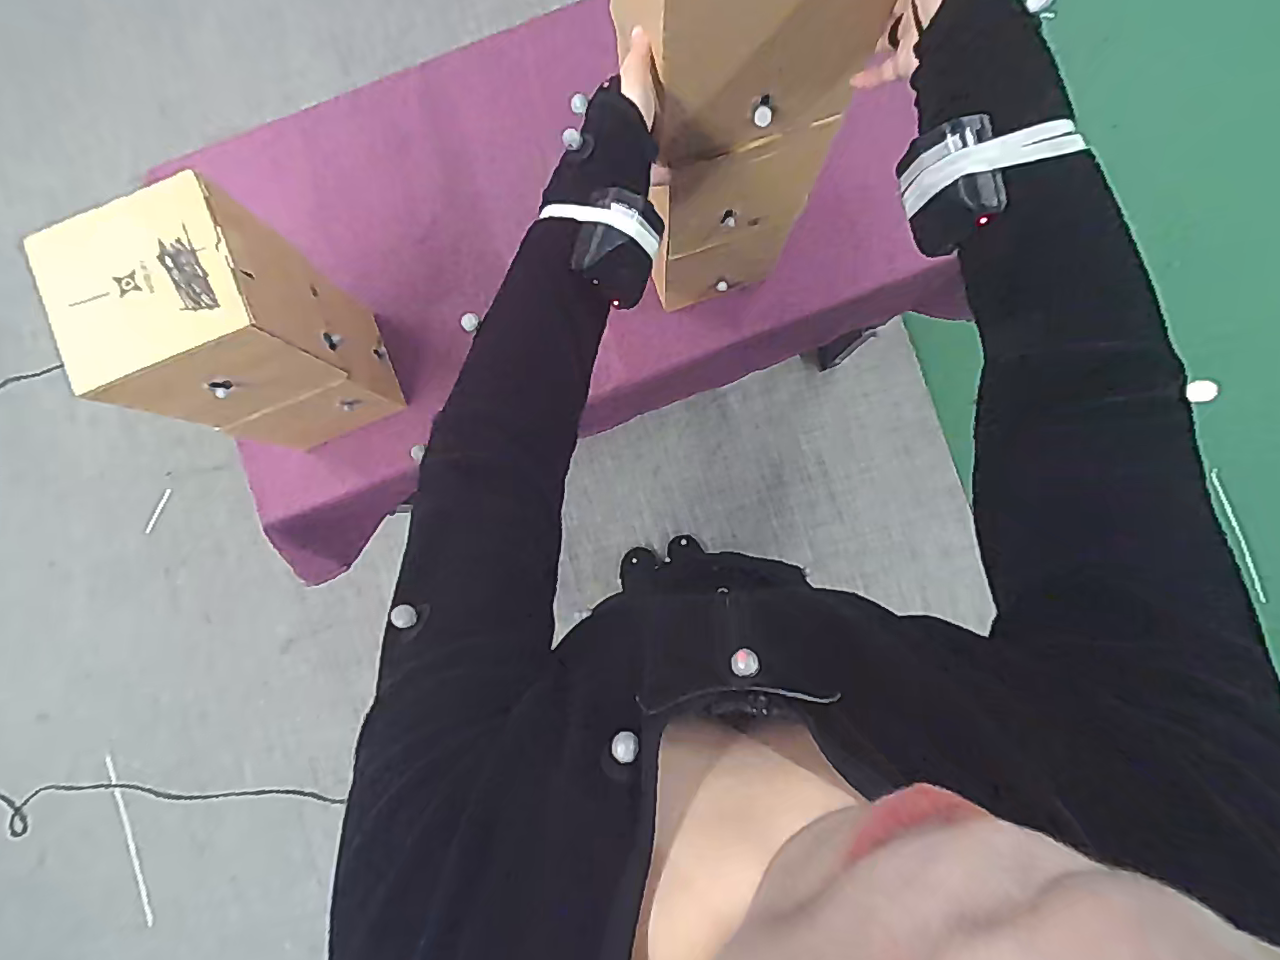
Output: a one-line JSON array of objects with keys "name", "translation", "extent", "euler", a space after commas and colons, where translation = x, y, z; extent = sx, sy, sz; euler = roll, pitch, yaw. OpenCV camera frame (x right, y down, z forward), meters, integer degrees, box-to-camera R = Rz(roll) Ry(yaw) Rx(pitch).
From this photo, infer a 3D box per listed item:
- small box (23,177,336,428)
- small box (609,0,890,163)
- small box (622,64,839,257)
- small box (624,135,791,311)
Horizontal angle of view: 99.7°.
[{"name": "small box", "translation": [-0.460, -0.171, 0.576], "extent": [0.179, 0.176, 0.168], "euler": [-23, 85, 0]}, {"name": "small box", "translation": [0.074, -0.384, 0.410], "extent": [0.179, 0.176, 0.168], "euler": [-16, 85, -1]}, {"name": "small box", "translation": [0.080, -0.375, 0.575], "extent": [0.168, 0.176, 0.179], "euler": [-18, 86, 0]}, {"name": "small box", "translation": [0.082, -0.362, 0.737], "extent": [0.168, 0.176, 0.179], "euler": [-18, 86, 1]}]
